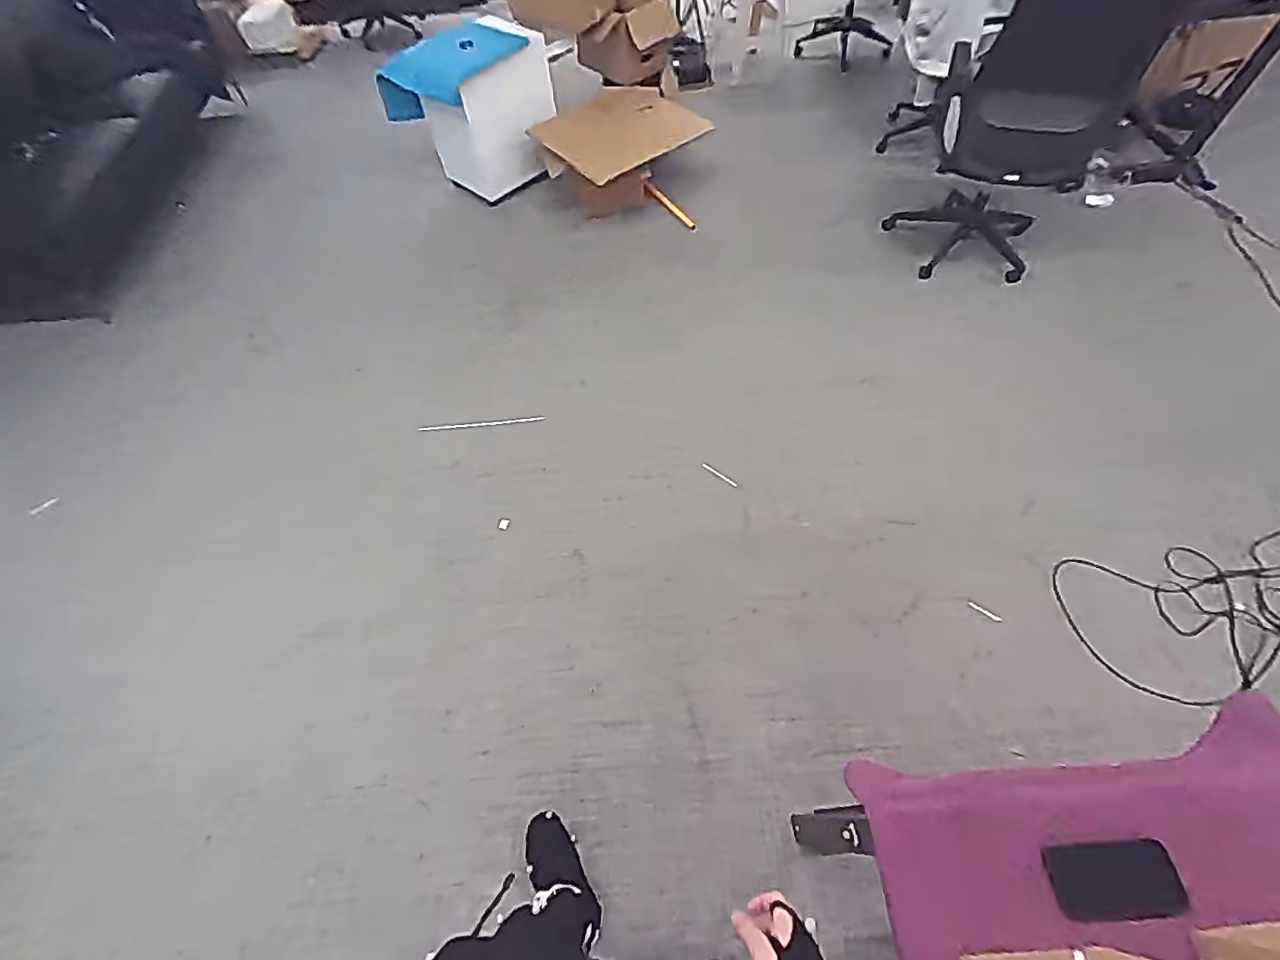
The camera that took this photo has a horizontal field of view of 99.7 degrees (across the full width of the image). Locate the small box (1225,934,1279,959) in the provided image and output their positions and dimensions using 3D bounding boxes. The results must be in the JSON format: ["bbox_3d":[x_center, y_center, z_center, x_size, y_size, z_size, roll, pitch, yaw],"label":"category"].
[{"bbox_3d":[0.737,0.552,0.515,0.179,0.176,0.168,-6,57,-1],"label":"small box"}]
